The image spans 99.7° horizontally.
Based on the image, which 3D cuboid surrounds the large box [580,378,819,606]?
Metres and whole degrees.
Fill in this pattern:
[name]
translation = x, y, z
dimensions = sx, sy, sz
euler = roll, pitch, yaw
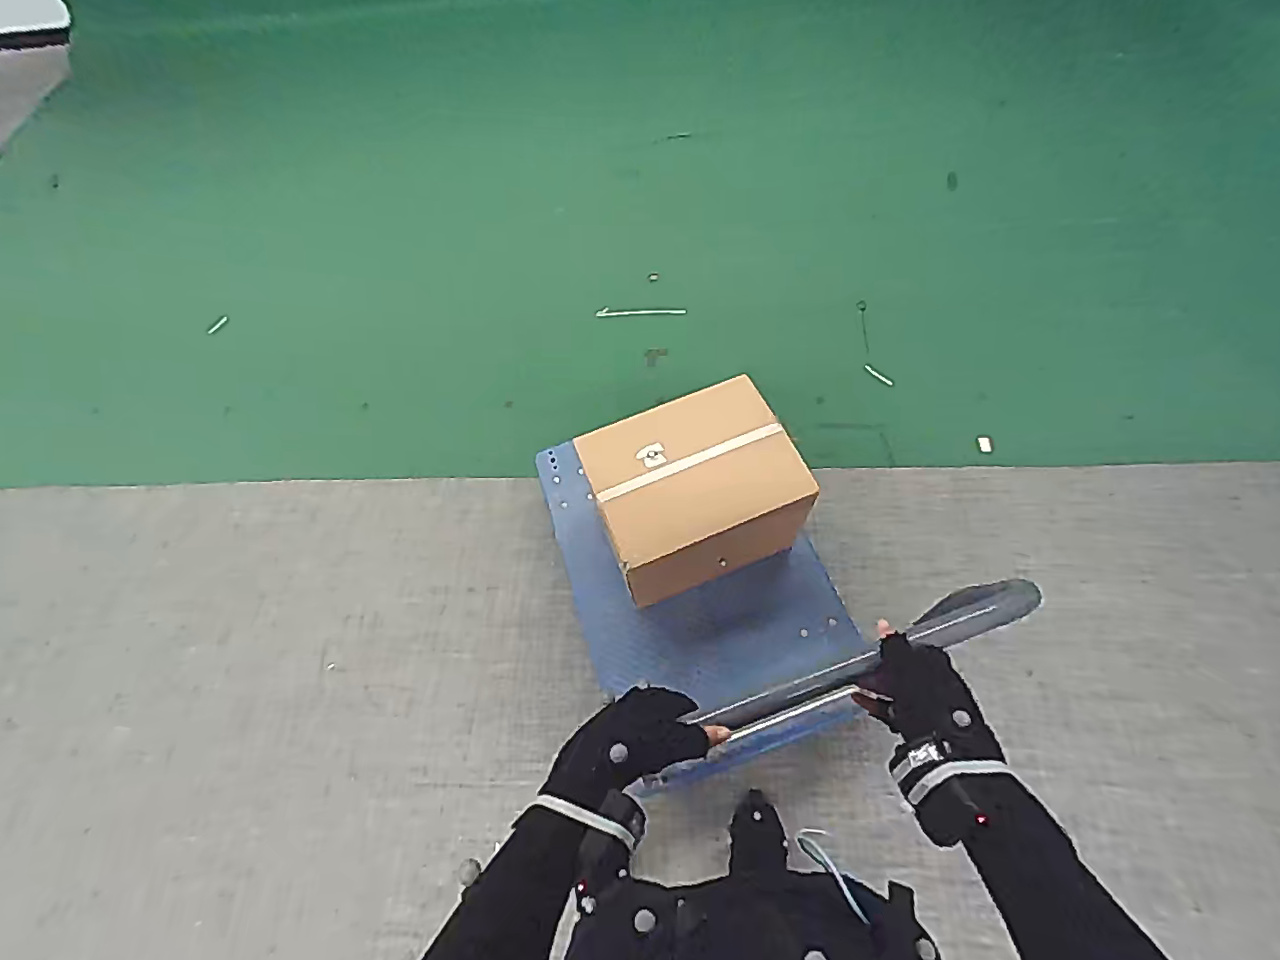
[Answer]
[large box]
translation = 0.124, 0.038, 1.223
dimensions = 0.408, 0.320, 0.320
euler = -22, 63, -6
